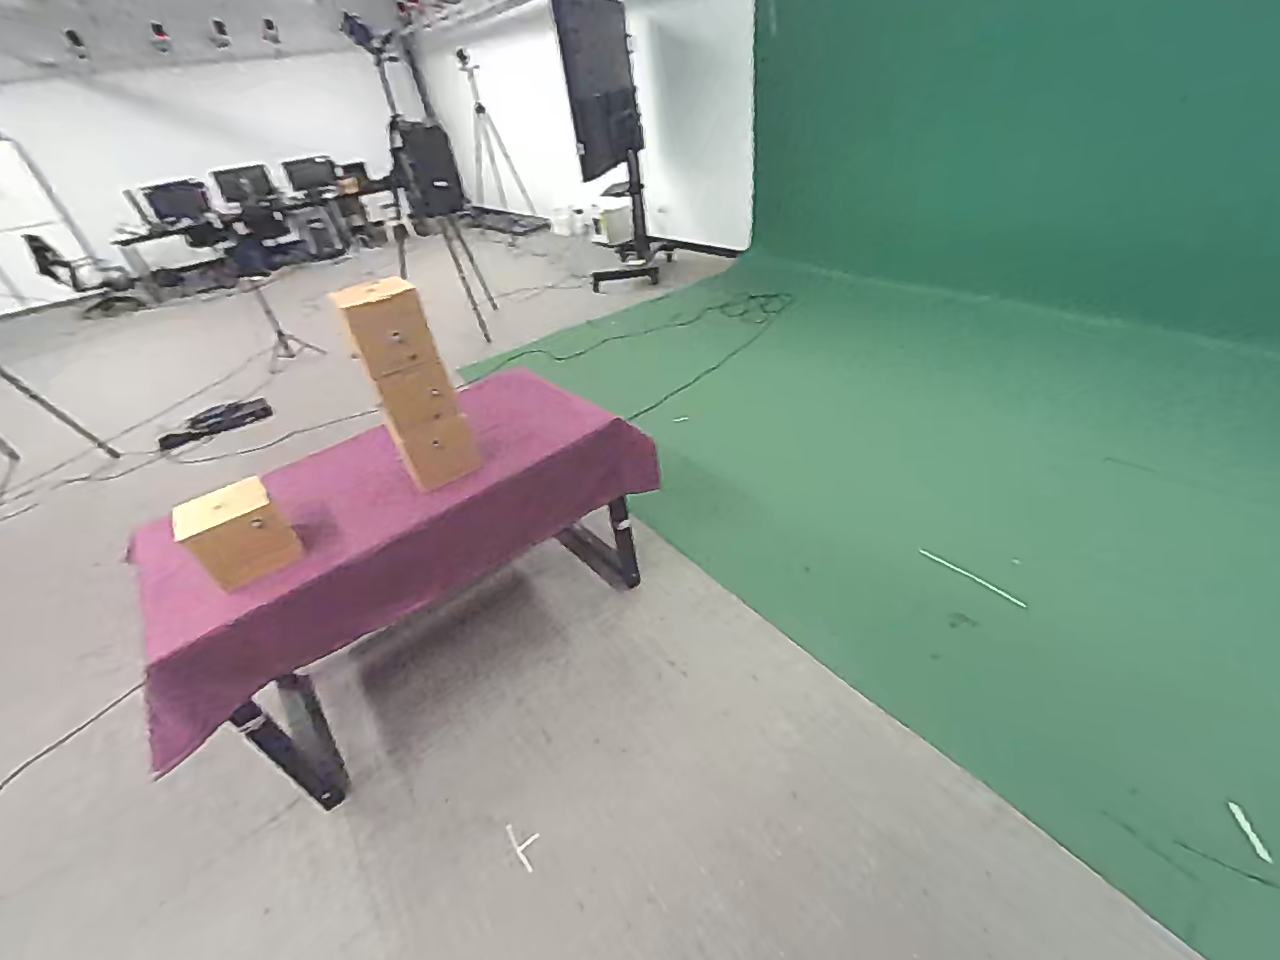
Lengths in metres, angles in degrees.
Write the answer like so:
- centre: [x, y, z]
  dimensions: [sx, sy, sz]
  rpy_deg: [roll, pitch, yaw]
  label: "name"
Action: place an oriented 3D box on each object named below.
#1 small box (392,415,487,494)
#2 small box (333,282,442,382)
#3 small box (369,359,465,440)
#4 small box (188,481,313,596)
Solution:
- centre: [-0.544, -0.089, 1.478]
  dimensions: [0.179, 0.176, 0.168]
  rpy_deg: [-28, 40, -23]
  label: "small box"
- centre: [-0.598, -0.352, 1.291]
  dimensions: [0.168, 0.176, 0.179]
  rpy_deg: [-28, 40, -24]
  label: "small box"
- centre: [-0.573, -0.222, 1.389]
  dimensions: [0.168, 0.176, 0.179]
  rpy_deg: [-28, 39, -23]
  label: "small box"
- centre: [-0.906, 0.137, 1.263]
  dimensions: [0.179, 0.176, 0.168]
  rpy_deg: [-30, 40, -26]
  label: "small box"
